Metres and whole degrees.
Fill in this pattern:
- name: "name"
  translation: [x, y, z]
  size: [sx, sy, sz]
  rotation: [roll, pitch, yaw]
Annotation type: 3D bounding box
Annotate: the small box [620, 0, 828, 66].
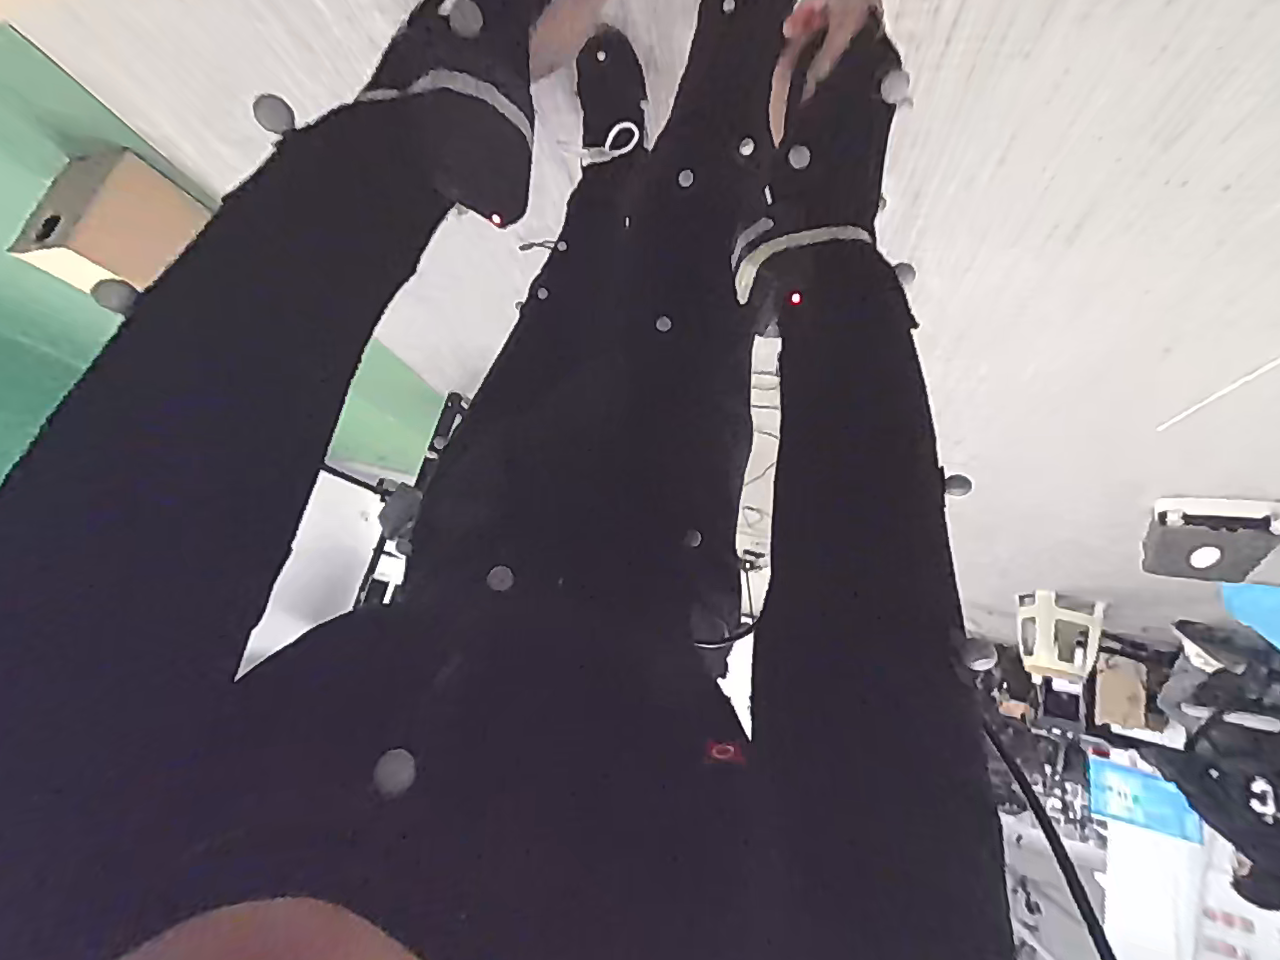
- name: "small box"
  translation: [0.096, -0.567, 0.553]
  size: [0.179, 0.168, 0.176]
  rotation: [10, -166, -33]
